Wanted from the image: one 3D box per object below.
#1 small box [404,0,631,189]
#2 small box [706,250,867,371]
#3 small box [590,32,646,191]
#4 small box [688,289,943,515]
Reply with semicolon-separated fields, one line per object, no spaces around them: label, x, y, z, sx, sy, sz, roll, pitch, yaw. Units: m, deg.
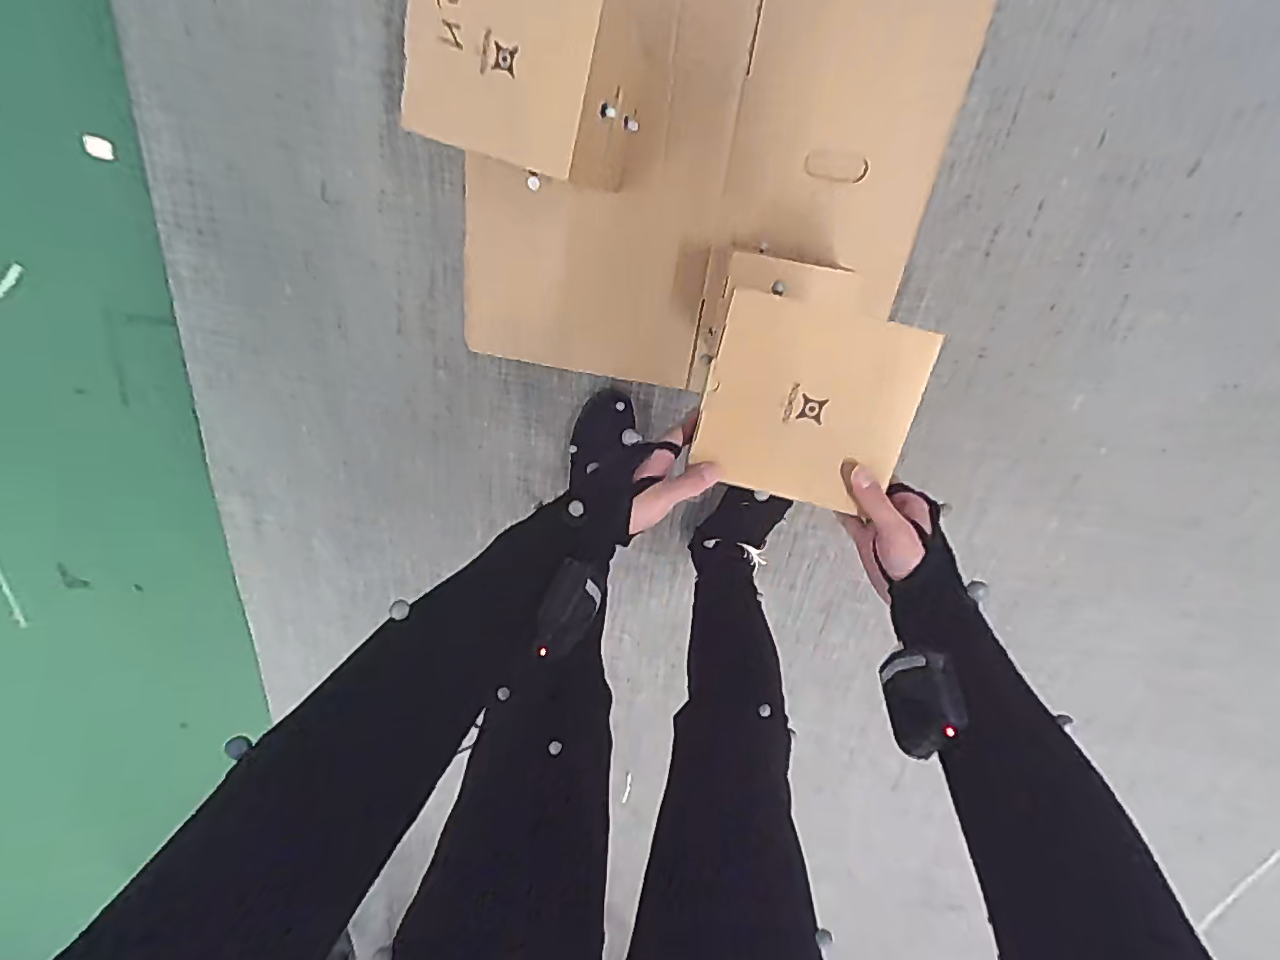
small box;-0.116;-0.419;0.566;0.179;0.176;0.168;18;115;-1
small box;0.202;-0.238;0.798;0.179;0.176;0.168;12;116;2
small box;-0.099;-0.496;0.713;0.179;0.176;0.168;18;116;-2
small box;0.156;-0.086;0.541;0.179;0.176;0.168;15;108;4
